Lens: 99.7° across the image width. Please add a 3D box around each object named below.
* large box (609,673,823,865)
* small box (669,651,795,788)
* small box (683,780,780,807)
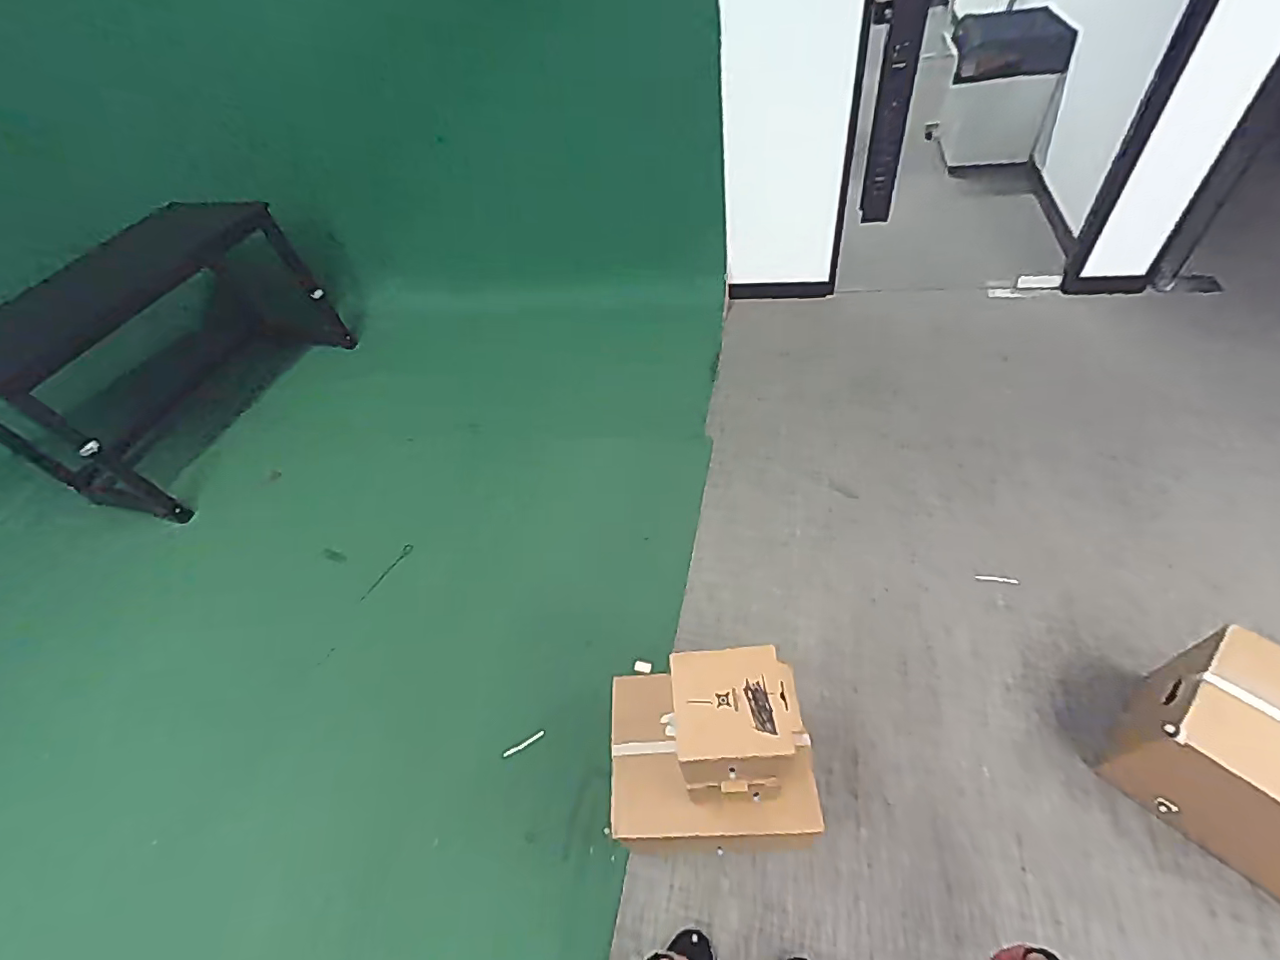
[{"bbox_3d":[0.161,0.655,1.209,0.408,0.320,0.320,-7,48,7],"label":"large box"},{"bbox_3d":[0.145,0.396,0.889,0.179,0.176,0.168,-7,49,6],"label":"small box"},{"bbox_3d":[0.166,0.504,1.012,0.168,0.176,0.179,-5,50,6],"label":"small box"}]
